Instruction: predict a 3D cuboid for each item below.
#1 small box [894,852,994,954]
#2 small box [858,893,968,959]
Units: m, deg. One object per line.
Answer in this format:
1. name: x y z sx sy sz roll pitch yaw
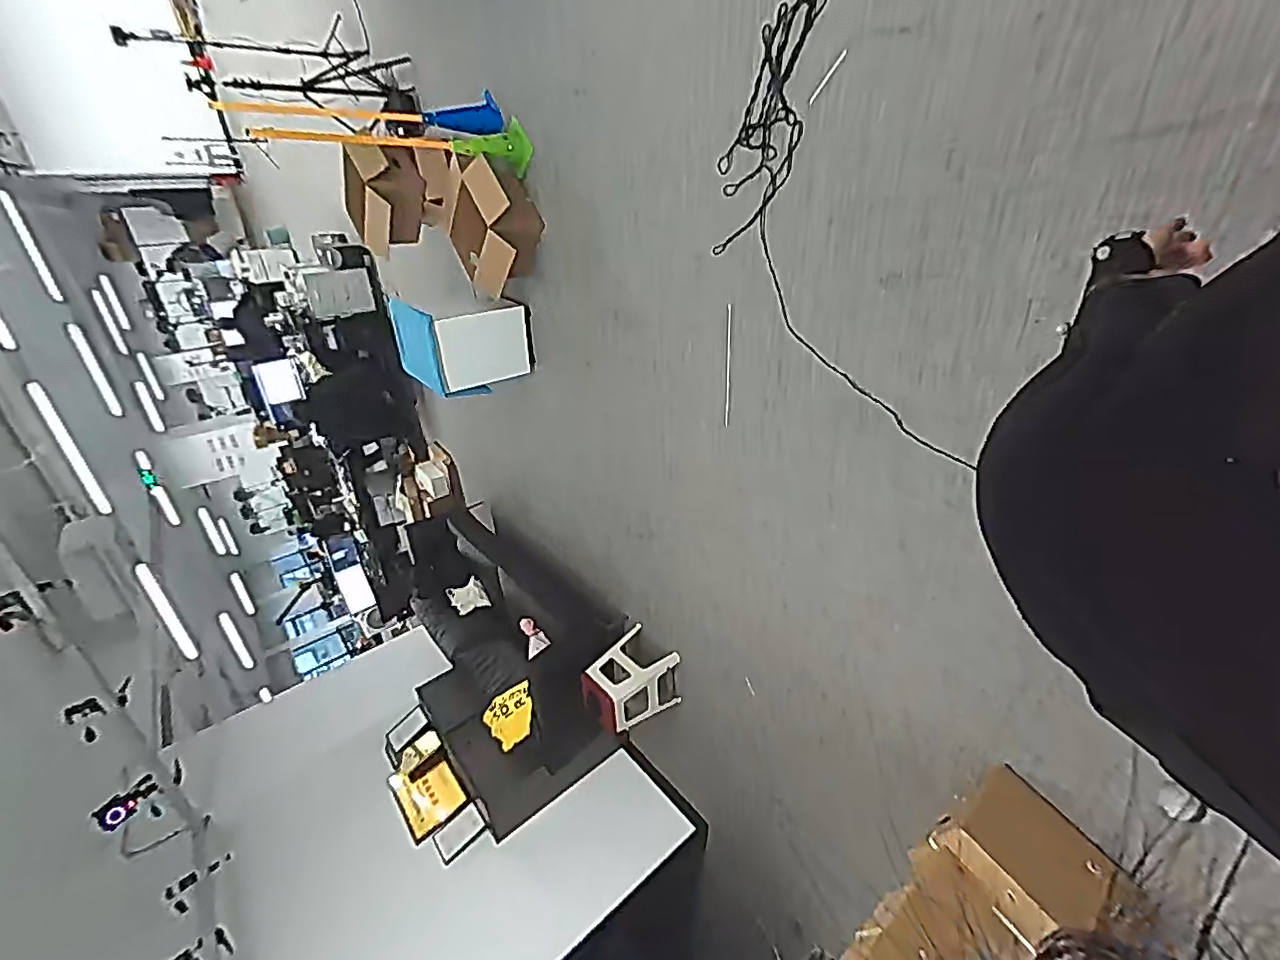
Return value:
1. small box: 0.878 1.228 1.566 0.168 0.176 0.179 45 142 30
2. small box: 0.747 1.277 1.484 0.179 0.176 0.168 46 142 29
